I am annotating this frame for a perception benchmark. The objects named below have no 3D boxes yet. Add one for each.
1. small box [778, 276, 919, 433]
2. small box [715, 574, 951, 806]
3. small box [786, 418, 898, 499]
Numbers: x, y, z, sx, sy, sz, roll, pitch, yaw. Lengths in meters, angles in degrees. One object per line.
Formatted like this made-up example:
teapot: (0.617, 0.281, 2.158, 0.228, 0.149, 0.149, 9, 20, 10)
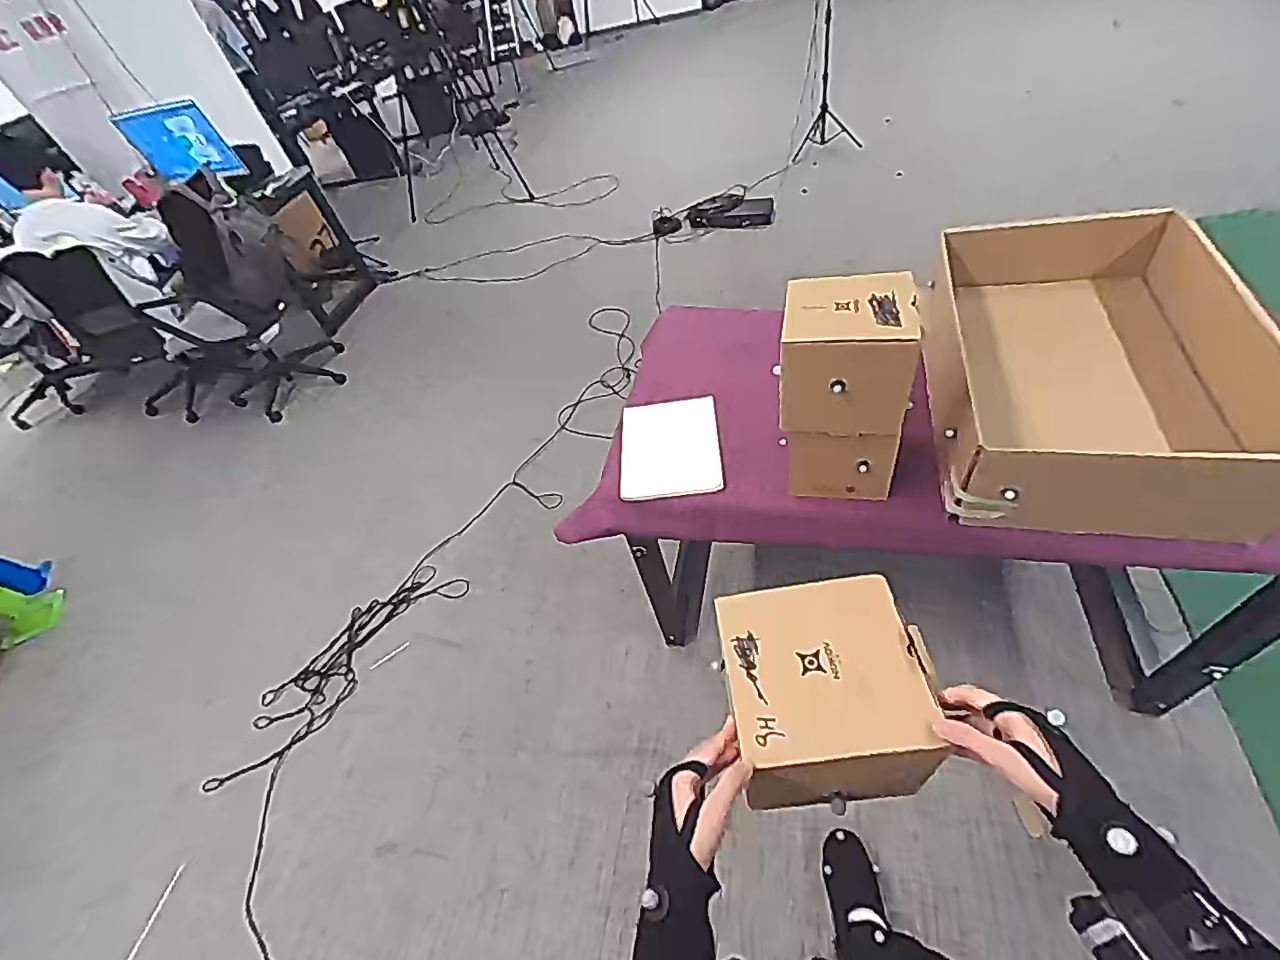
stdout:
small box: (0.304, -0.184, 0.814, 0.179, 0.176, 0.168, 3, 49, 18)
small box: (0.177, 0.219, 0.557, 0.179, 0.176, 0.168, -8, 46, 5)
small box: (0.345, -0.084, 0.938, 0.168, 0.176, 0.179, 3, 49, 17)
